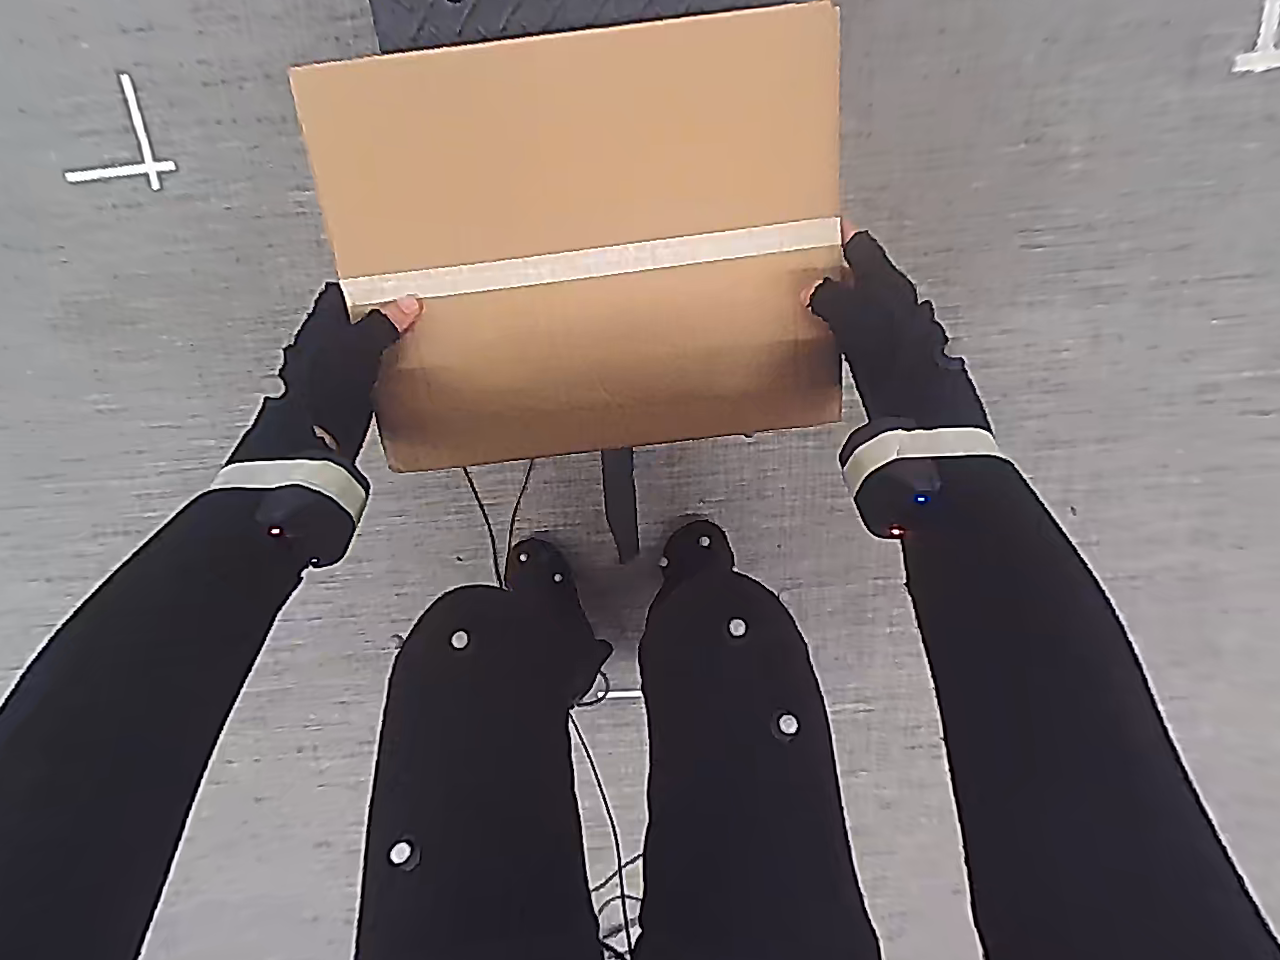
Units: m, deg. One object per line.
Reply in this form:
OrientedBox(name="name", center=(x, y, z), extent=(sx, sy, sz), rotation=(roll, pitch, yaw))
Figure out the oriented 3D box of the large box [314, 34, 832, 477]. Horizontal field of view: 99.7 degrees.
OrientedBox(name="large box", center=(-0.041, -0.213, 0.595), extent=(0.408, 0.320, 0.320), rotation=(-6, 106, 0))
